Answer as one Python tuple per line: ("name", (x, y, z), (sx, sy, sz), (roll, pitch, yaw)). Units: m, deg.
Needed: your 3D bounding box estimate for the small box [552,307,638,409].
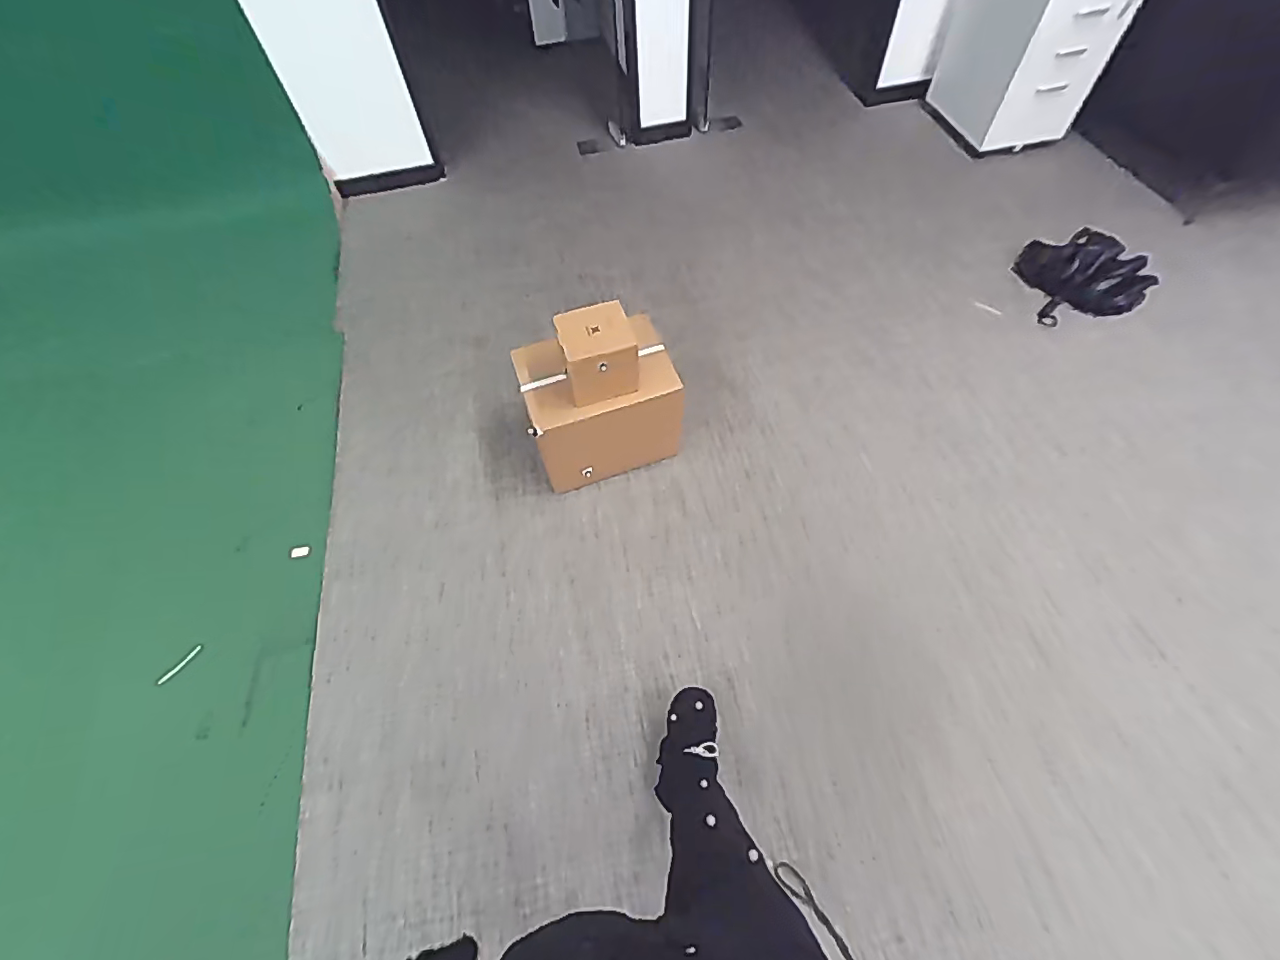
("small box", (-0.109, -0.306, 1.381), (0.179, 0.176, 0.168), (-16, 60, -9))
